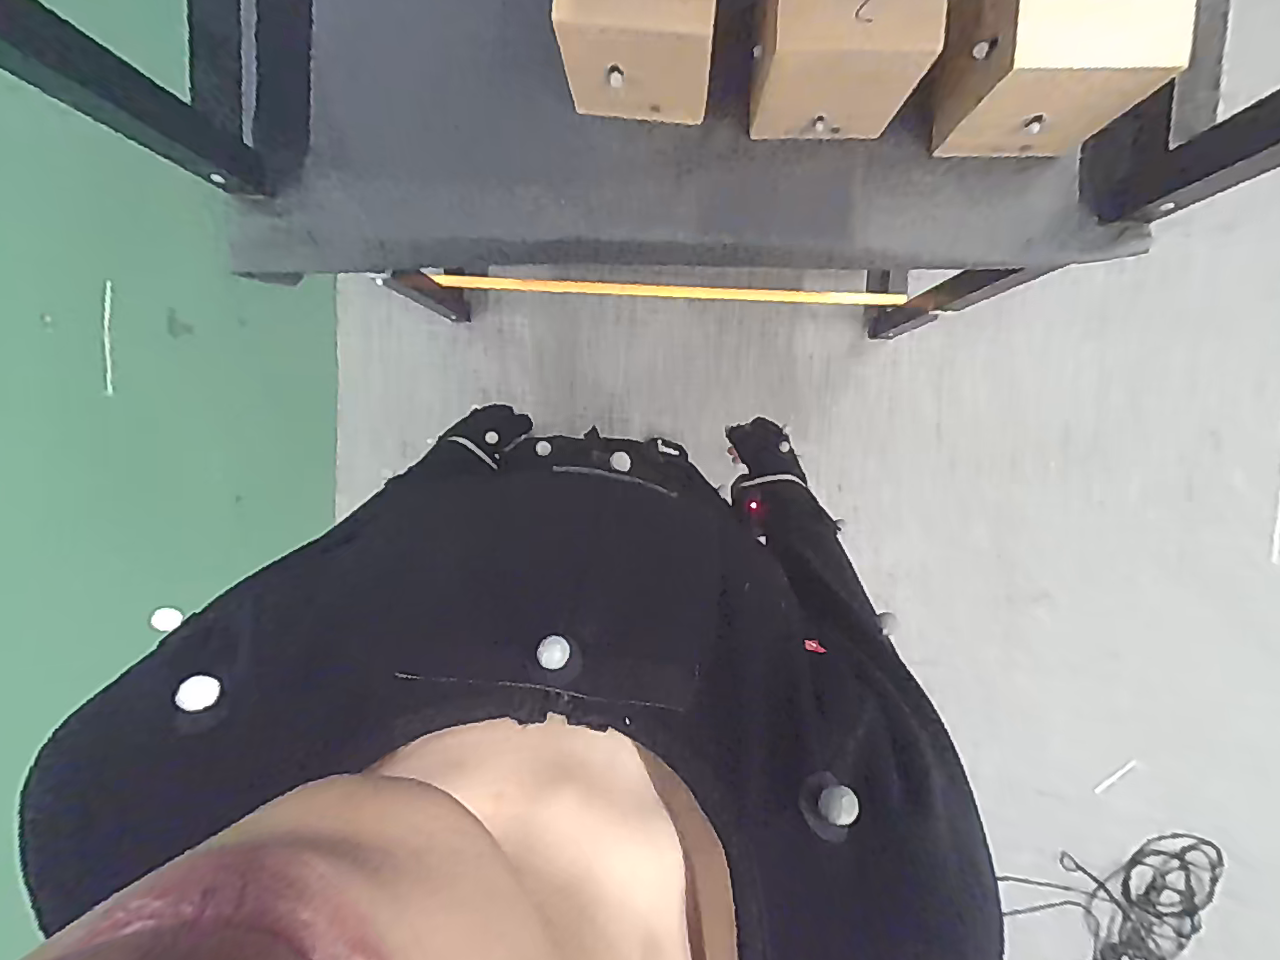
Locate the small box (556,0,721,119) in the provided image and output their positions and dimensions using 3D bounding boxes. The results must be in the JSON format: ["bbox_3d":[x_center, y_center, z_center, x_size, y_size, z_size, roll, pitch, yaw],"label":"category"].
[{"bbox_3d":[0.009,-0.550,0.617,0.168,0.176,0.179,7,95,2],"label":"small box"}]

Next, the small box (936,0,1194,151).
[{"bbox_3d":[0.453,-0.493,0.599,0.168,0.176,0.179,1,94,2],"label":"small box"}]
